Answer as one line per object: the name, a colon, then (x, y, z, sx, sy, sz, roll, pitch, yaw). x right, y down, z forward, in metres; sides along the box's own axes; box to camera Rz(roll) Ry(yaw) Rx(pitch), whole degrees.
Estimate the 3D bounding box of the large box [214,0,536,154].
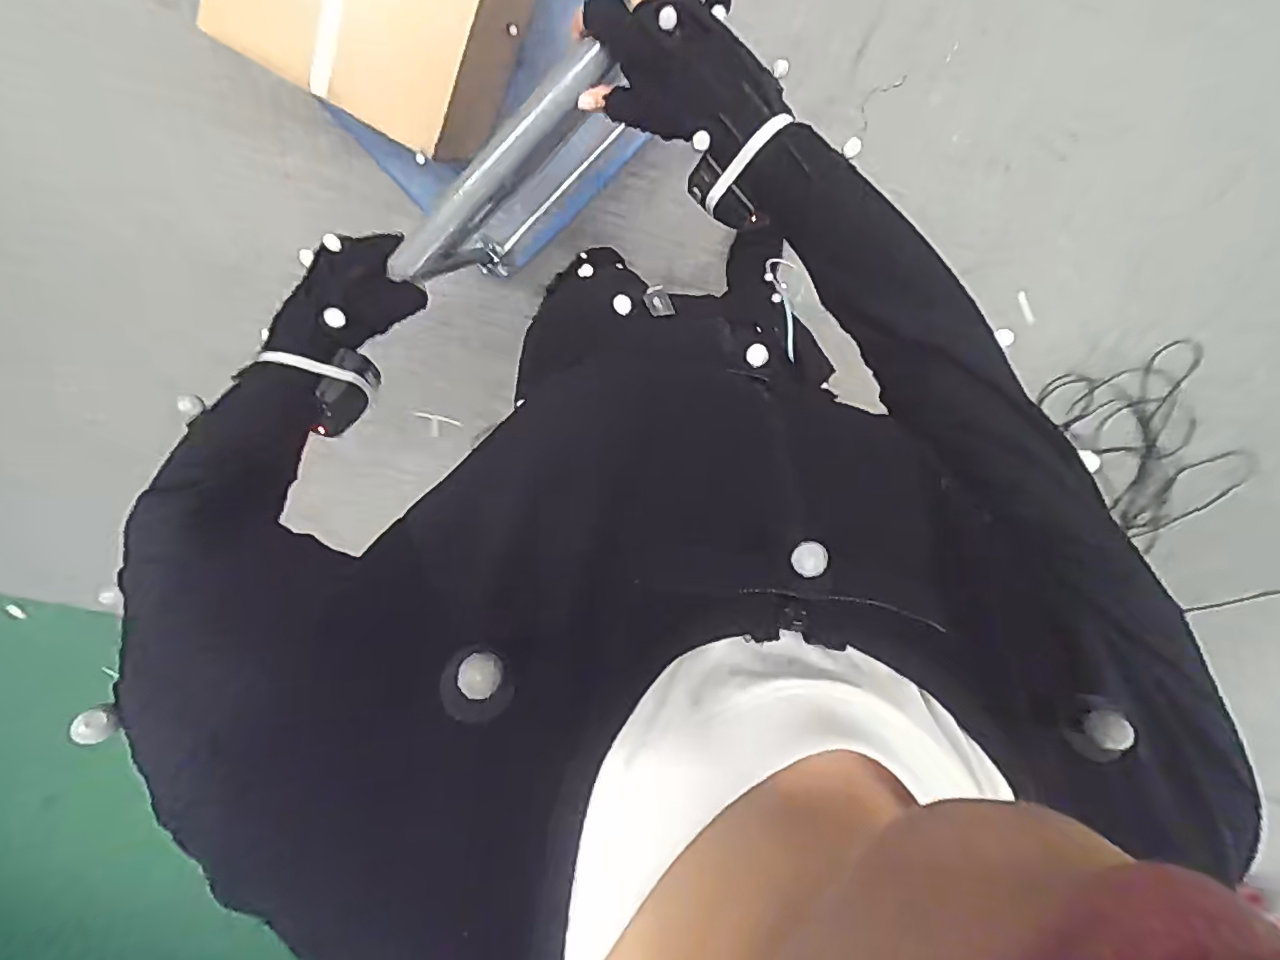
large box: (-0.330, -0.757, 0.777, 0.320, 0.320, 0.408, 25, 118, -14)
